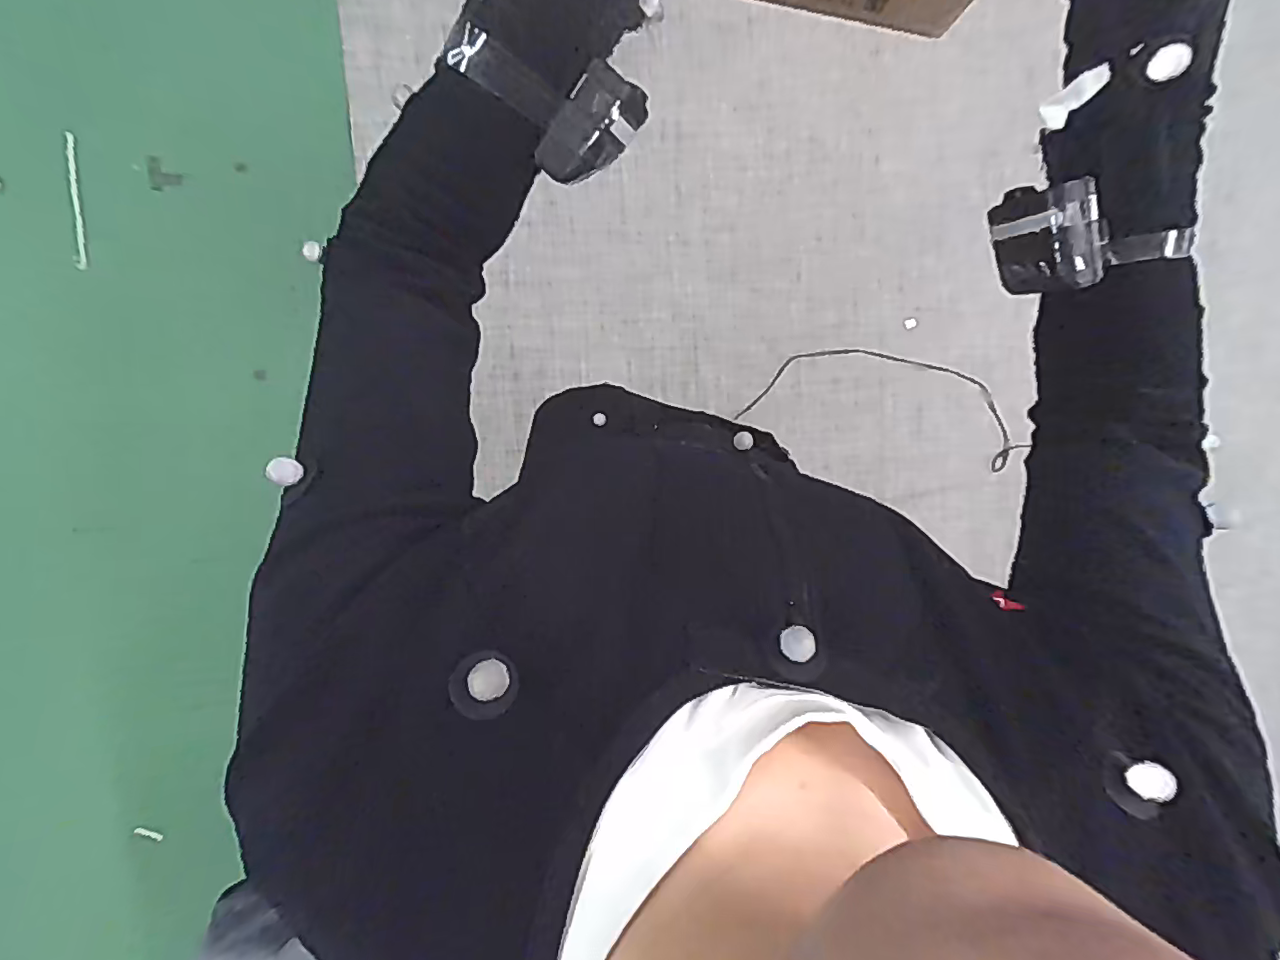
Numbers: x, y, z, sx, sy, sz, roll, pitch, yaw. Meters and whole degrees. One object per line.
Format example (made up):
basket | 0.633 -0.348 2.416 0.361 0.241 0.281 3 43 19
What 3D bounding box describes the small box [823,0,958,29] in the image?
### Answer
small box | 0.161 -0.421 0.315 0.168 0.176 0.179 8 93 -4
